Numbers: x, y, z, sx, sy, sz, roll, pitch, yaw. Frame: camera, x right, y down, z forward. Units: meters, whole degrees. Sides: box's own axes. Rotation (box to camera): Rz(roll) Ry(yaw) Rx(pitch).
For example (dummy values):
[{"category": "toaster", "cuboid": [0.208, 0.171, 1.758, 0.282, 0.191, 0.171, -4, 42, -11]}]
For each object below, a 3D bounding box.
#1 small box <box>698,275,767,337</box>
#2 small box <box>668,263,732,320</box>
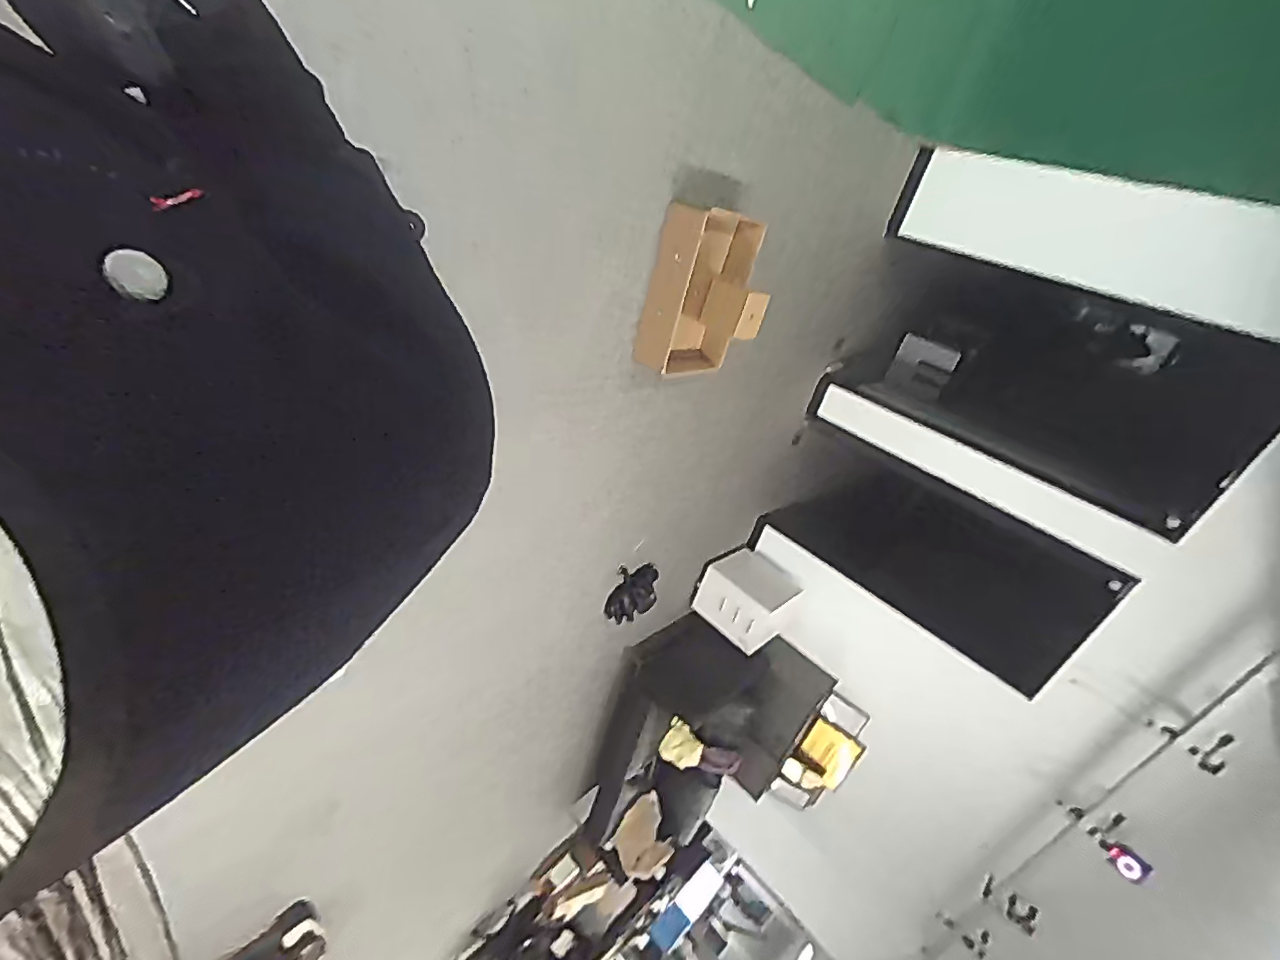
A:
[{"category": "small box", "cuboid": [0.342, -0.652, 2.031, 0.168, 0.176, 0.179, -19, 135, -45]}, {"category": "small box", "cuboid": [0.233, -0.750, 2.142, 0.168, 0.176, 0.179, -21, 136, -45]}]
